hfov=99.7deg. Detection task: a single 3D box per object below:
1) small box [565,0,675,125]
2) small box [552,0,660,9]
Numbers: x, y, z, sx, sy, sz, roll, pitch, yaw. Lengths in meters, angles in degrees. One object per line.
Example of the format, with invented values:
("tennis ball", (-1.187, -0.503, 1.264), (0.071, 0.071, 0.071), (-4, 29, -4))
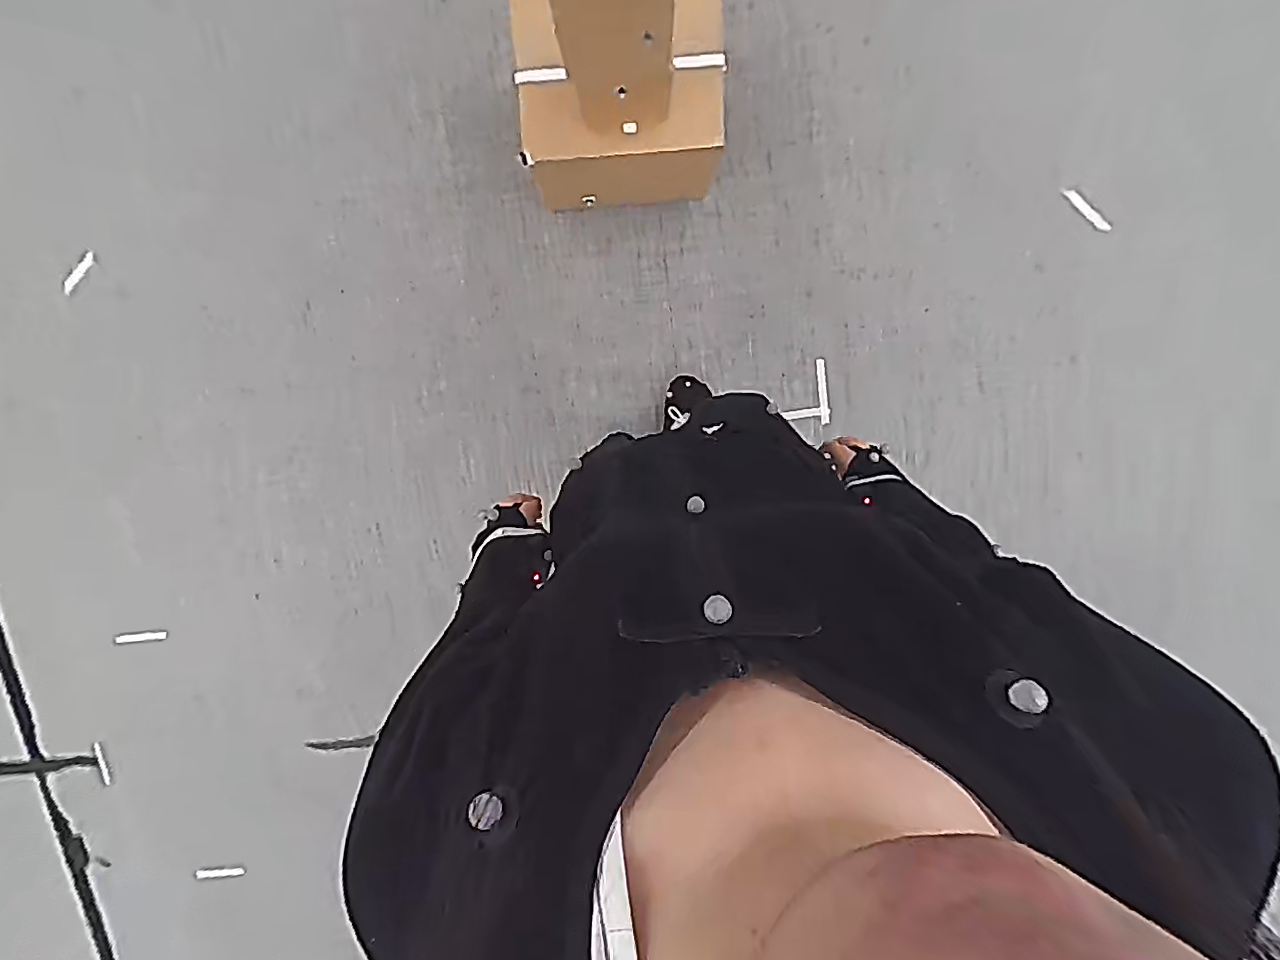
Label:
("small box", (-0.033, -0.773, 0.978), (0.179, 0.176, 0.168), (-6, 101, 1))
("small box", (-0.038, -0.719, 0.654), (0.179, 0.176, 0.168), (-2, 100, 1))
